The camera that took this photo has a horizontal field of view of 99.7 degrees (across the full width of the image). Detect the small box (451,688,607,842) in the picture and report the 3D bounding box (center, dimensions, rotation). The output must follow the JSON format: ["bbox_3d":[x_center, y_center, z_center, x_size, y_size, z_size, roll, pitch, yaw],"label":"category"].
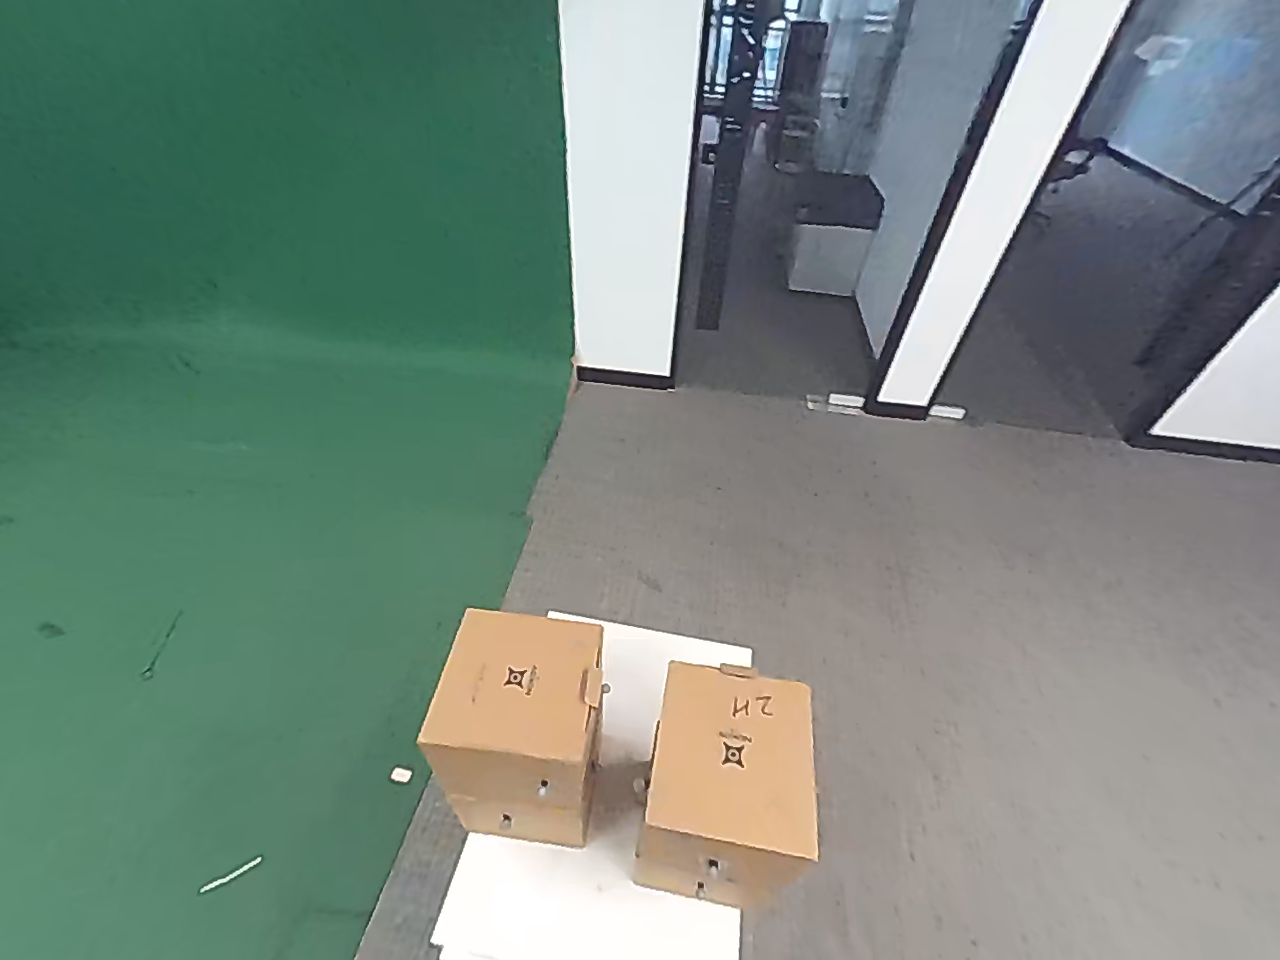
[{"bbox_3d":[-0.148,0.404,0.785,0.179,0.176,0.168,7,44,2],"label":"small box"}]

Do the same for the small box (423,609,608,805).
[{"bbox_3d":[-0.138,0.285,0.673,0.179,0.176,0.168,6,43,1],"label":"small box"}]

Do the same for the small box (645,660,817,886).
[{"bbox_3d":[0.100,0.341,0.627,0.168,0.176,0.179,9,44,6],"label":"small box"}]
